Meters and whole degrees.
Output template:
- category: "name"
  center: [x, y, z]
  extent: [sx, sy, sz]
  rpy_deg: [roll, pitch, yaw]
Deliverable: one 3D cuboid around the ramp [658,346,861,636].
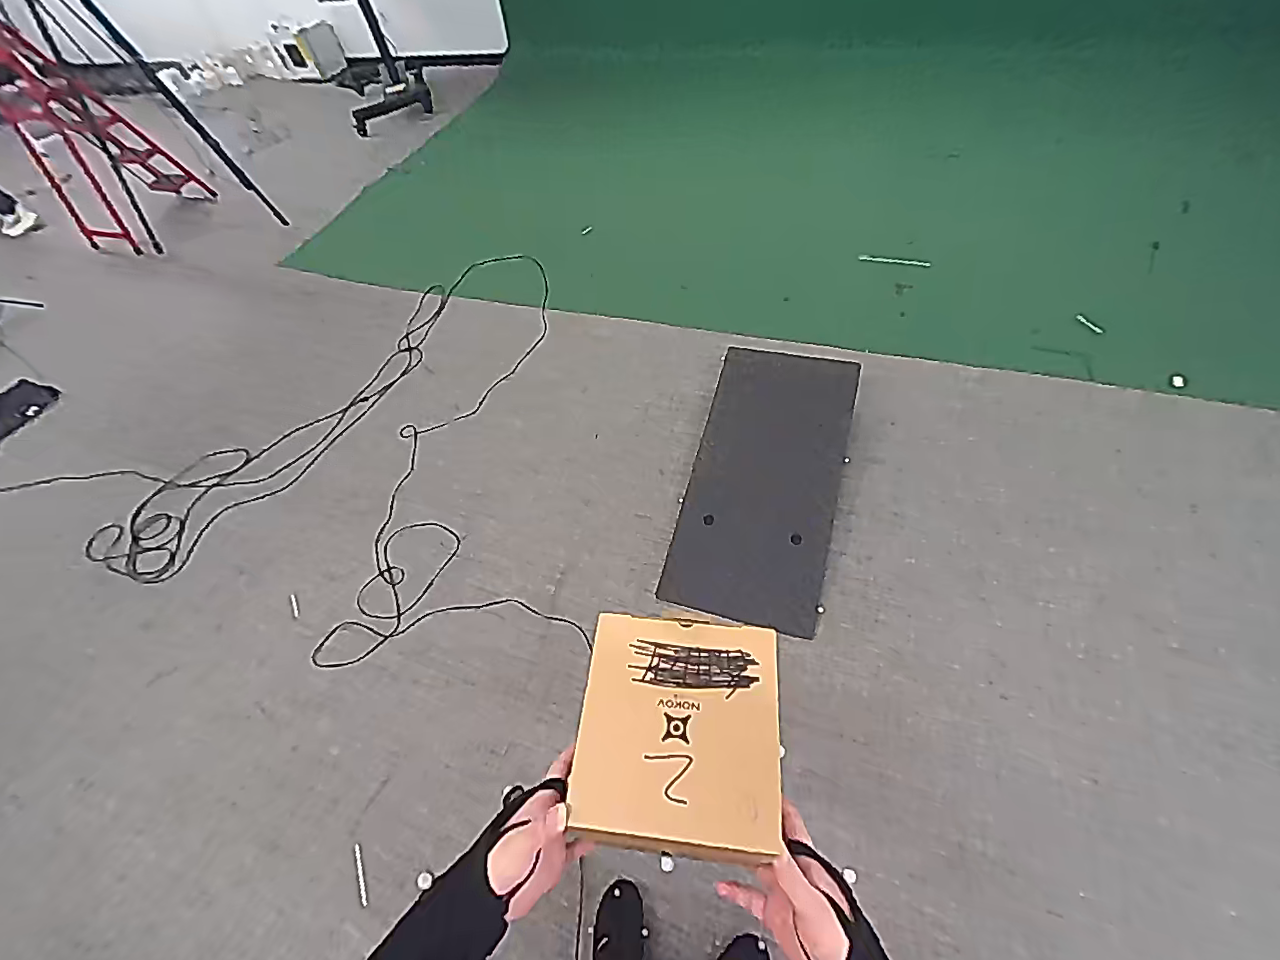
- category: "ramp"
  center: [0.426, -0.024, 1.826]
  extent: [0.509, 0.206, 0.991]
  rpy_deg: [11, 57, 14]
